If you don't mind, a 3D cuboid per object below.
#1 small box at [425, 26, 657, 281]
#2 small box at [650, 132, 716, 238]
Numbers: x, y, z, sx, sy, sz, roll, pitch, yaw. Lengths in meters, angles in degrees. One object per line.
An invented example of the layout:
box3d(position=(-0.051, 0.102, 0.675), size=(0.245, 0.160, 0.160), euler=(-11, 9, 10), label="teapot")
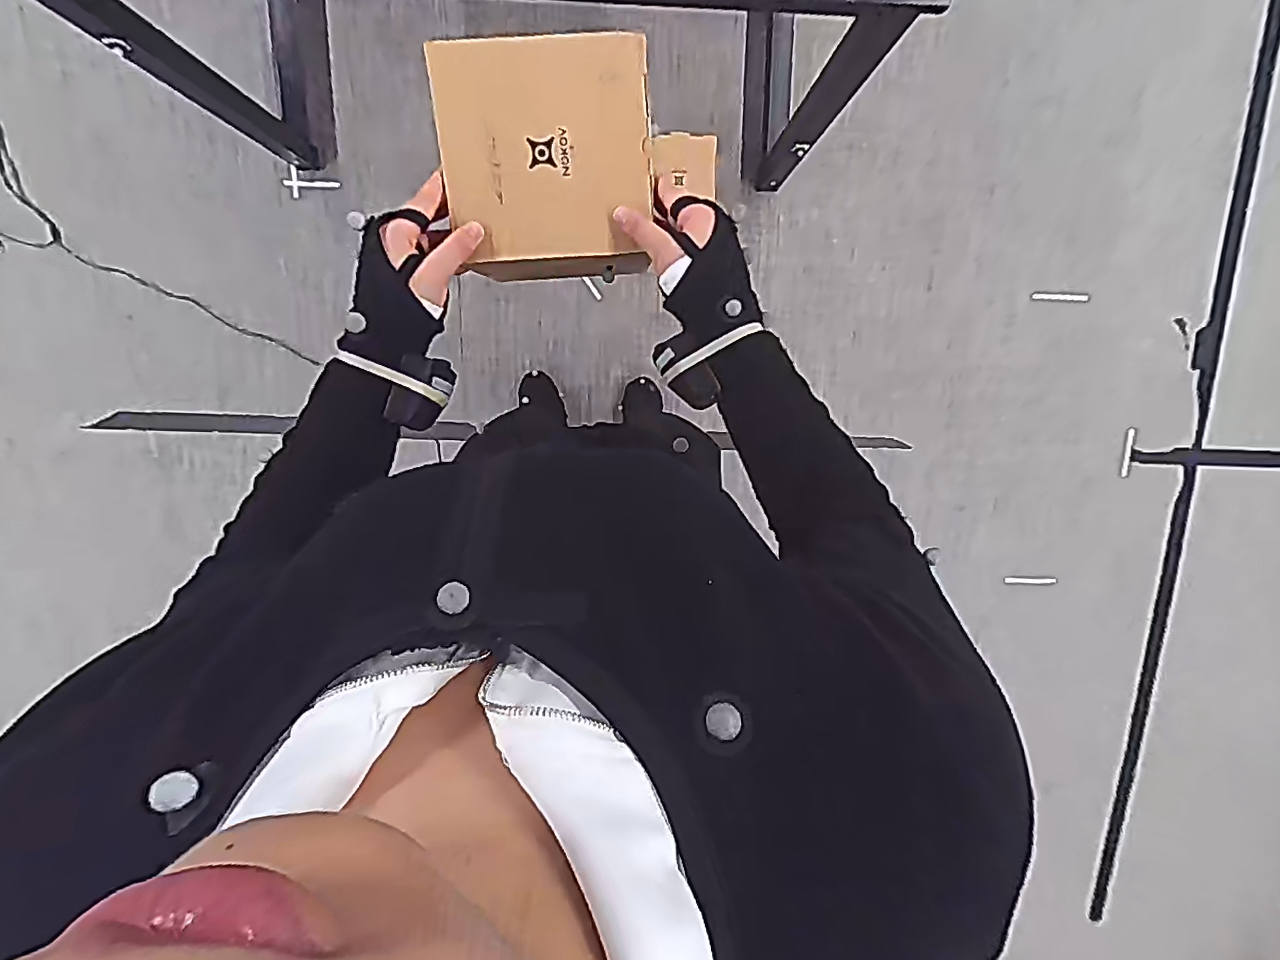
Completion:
box3d(position=(-0.080, -0.292, 0.521), size=(0.179, 0.176, 0.168), euler=(-5, 104, 0), label="small box")
box3d(position=(0.084, -0.695, 1.289), size=(0.168, 0.176, 0.179), euler=(1, 100, -1), label="small box")
